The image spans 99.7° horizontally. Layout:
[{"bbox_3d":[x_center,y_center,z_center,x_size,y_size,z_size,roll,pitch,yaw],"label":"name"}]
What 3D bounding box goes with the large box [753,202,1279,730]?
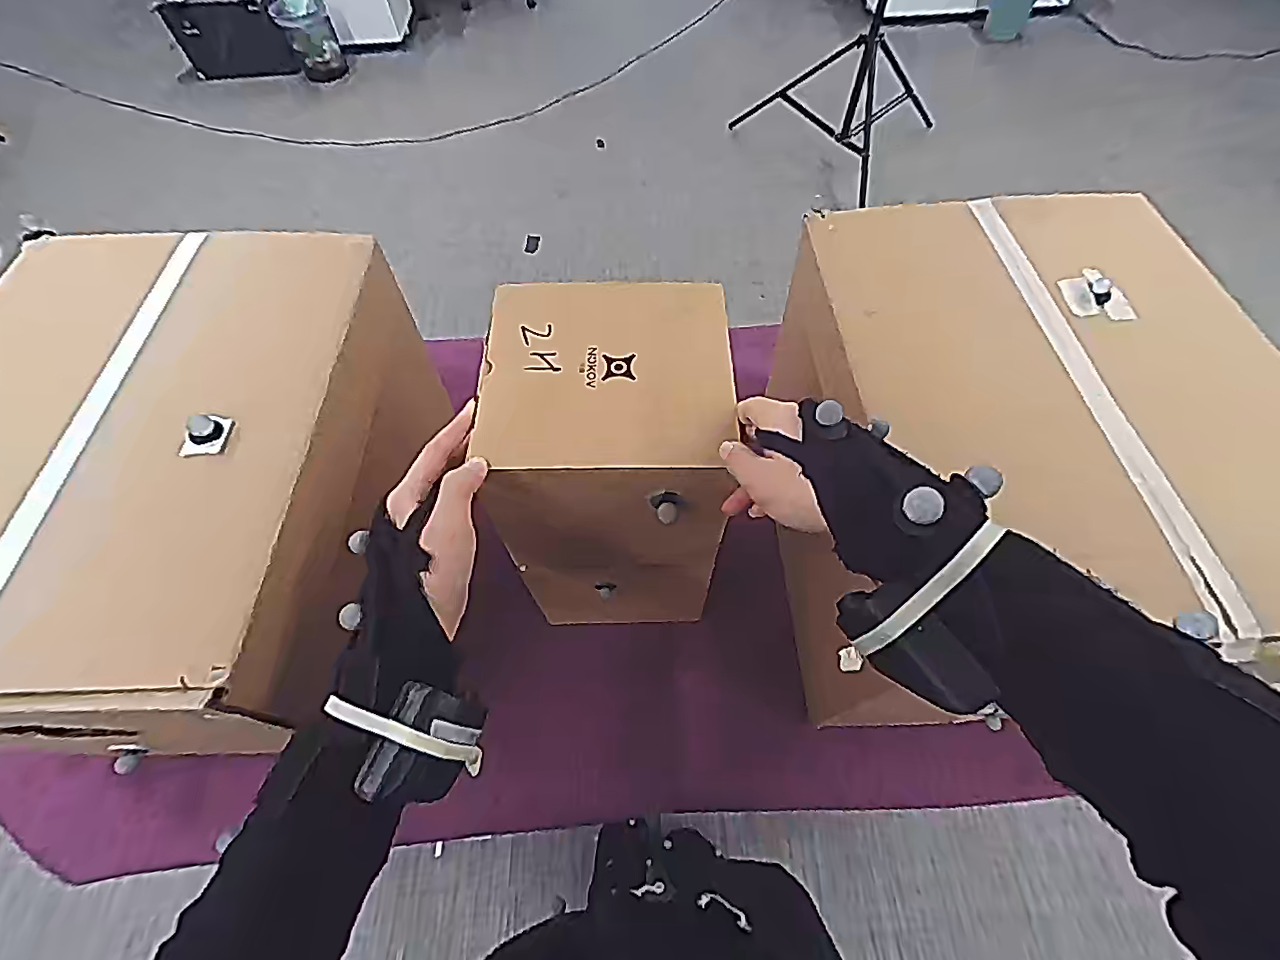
[{"bbox_3d":[0.312,-0.003,0.528,0.320,0.320,0.408,-3,58,-1],"label":"large box"}]
